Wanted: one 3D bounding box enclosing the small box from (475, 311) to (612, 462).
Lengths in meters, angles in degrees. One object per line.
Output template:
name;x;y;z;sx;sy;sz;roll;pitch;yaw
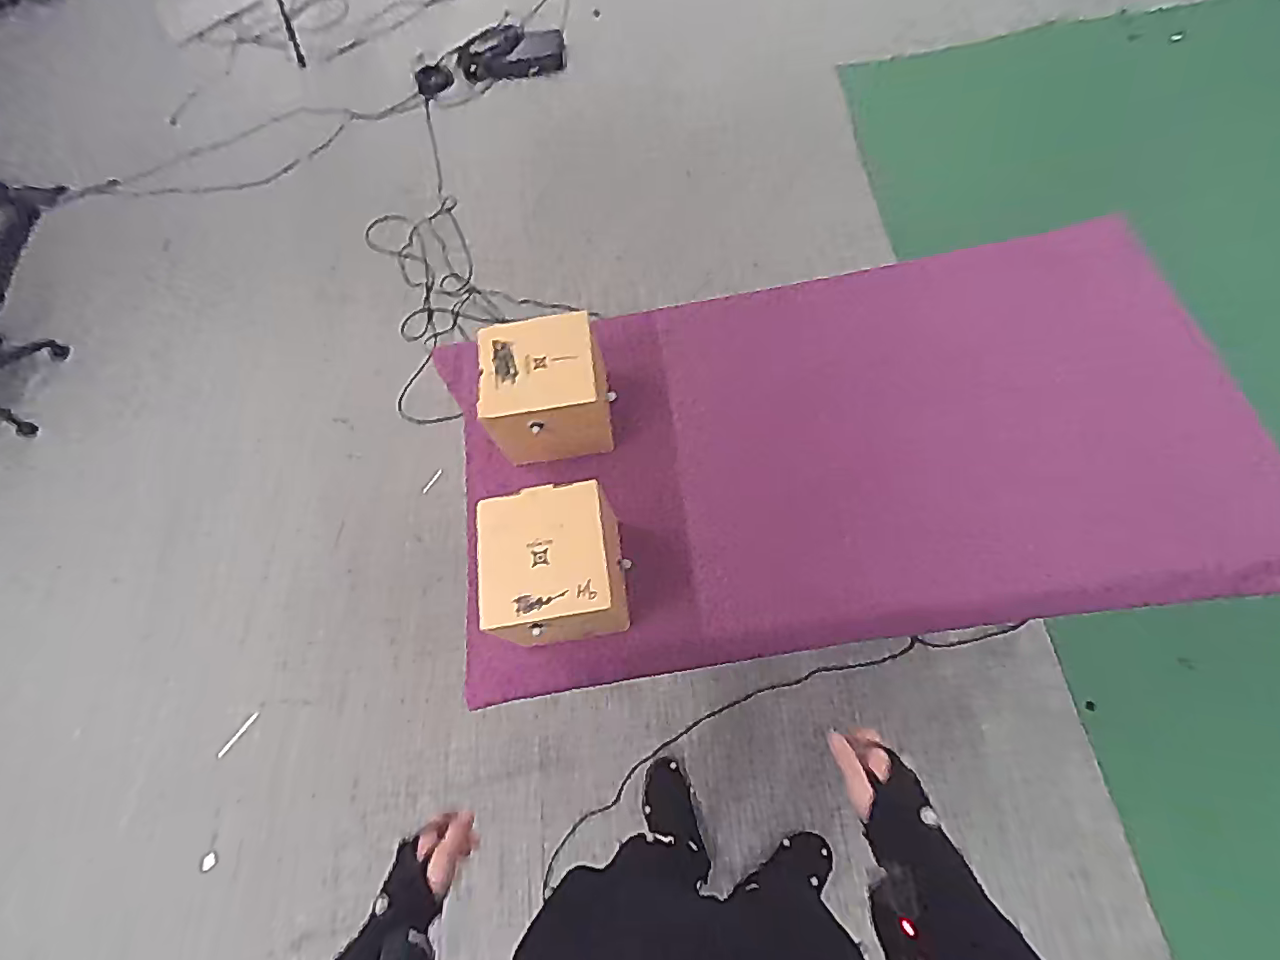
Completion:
small box;-0.149;-0.140;0.869;0.179;0.176;0.168;-8;67;3

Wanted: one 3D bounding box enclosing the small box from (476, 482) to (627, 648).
small box;-0.117;0.125;0.753;0.168;0.176;0.179;-10;65;4
